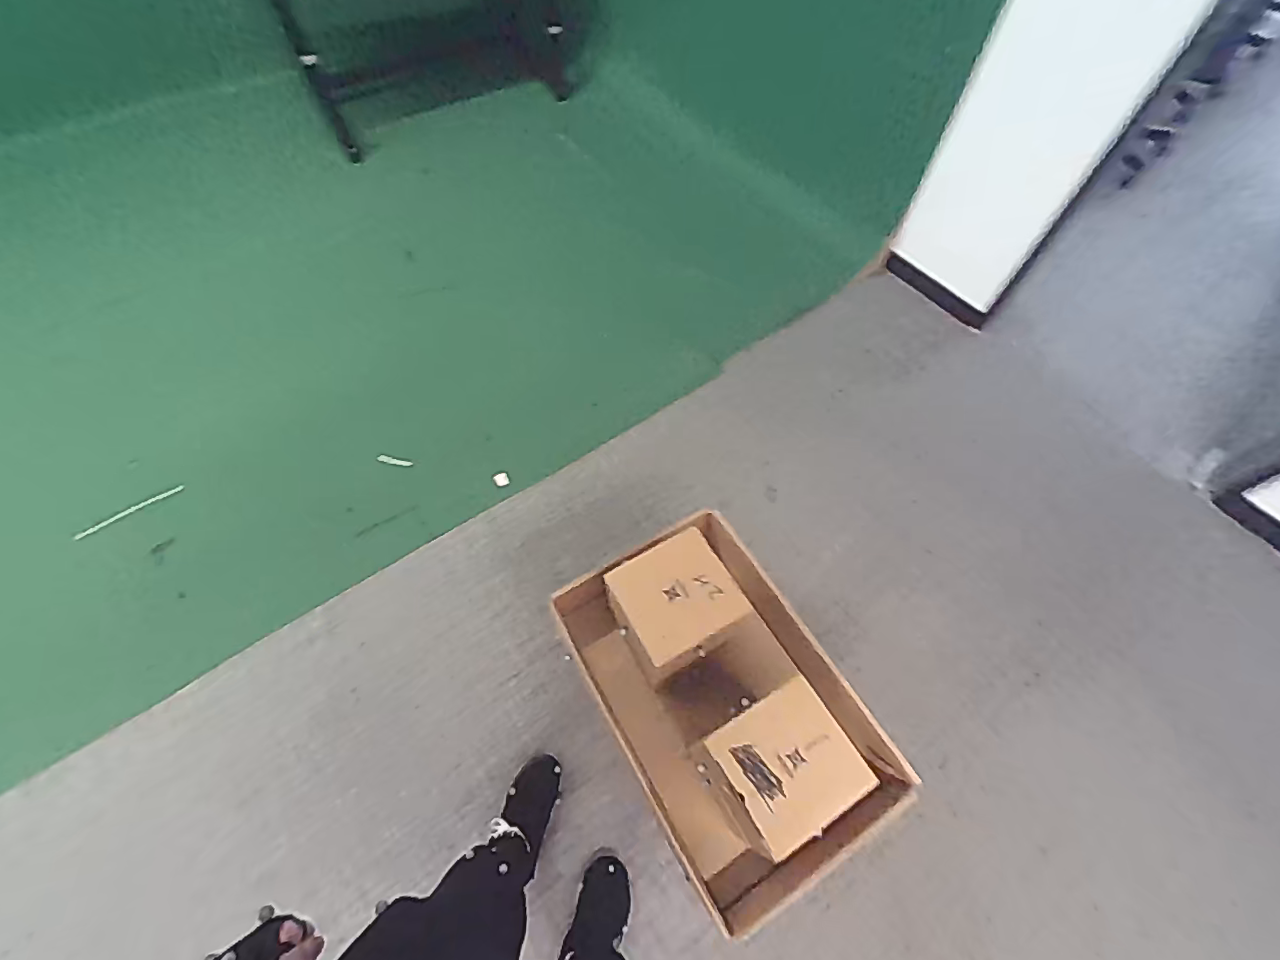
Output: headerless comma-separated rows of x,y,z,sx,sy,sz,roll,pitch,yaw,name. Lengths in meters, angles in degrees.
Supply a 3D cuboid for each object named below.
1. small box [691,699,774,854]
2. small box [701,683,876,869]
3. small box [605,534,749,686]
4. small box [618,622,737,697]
0.200,0.512,0.941,0.179,0.176,0.168,-26,64,-15,small box
0.202,0.431,0.798,0.179,0.176,0.168,-27,64,-15,small box
0.058,0.225,0.913,0.179,0.176,0.168,-26,65,-14,small box
0.064,0.300,1.059,0.179,0.176,0.168,-24,62,-14,small box
